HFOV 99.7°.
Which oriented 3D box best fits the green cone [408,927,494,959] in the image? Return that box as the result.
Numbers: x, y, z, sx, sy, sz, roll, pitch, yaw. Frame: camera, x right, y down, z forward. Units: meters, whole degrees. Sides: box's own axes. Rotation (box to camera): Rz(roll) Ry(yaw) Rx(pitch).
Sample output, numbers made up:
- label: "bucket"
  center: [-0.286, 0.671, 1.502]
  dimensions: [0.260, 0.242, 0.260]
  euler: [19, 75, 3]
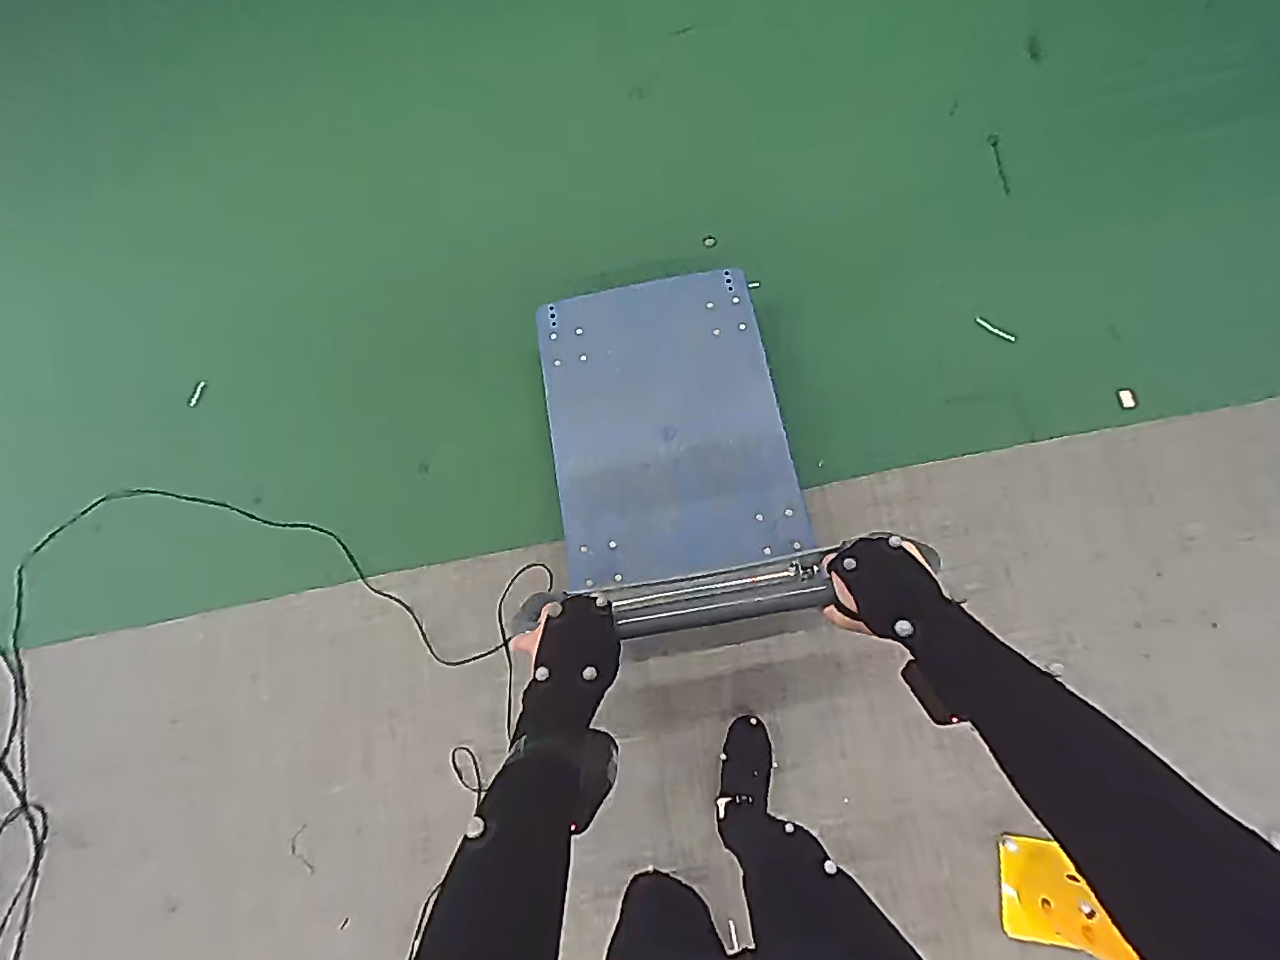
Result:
- label: "green cone"
  center: [-0.435, 1.090, 1.050]
  dimensions: [0.202, 0.368, 0.200]
  euler: [-15, 74, 2]
